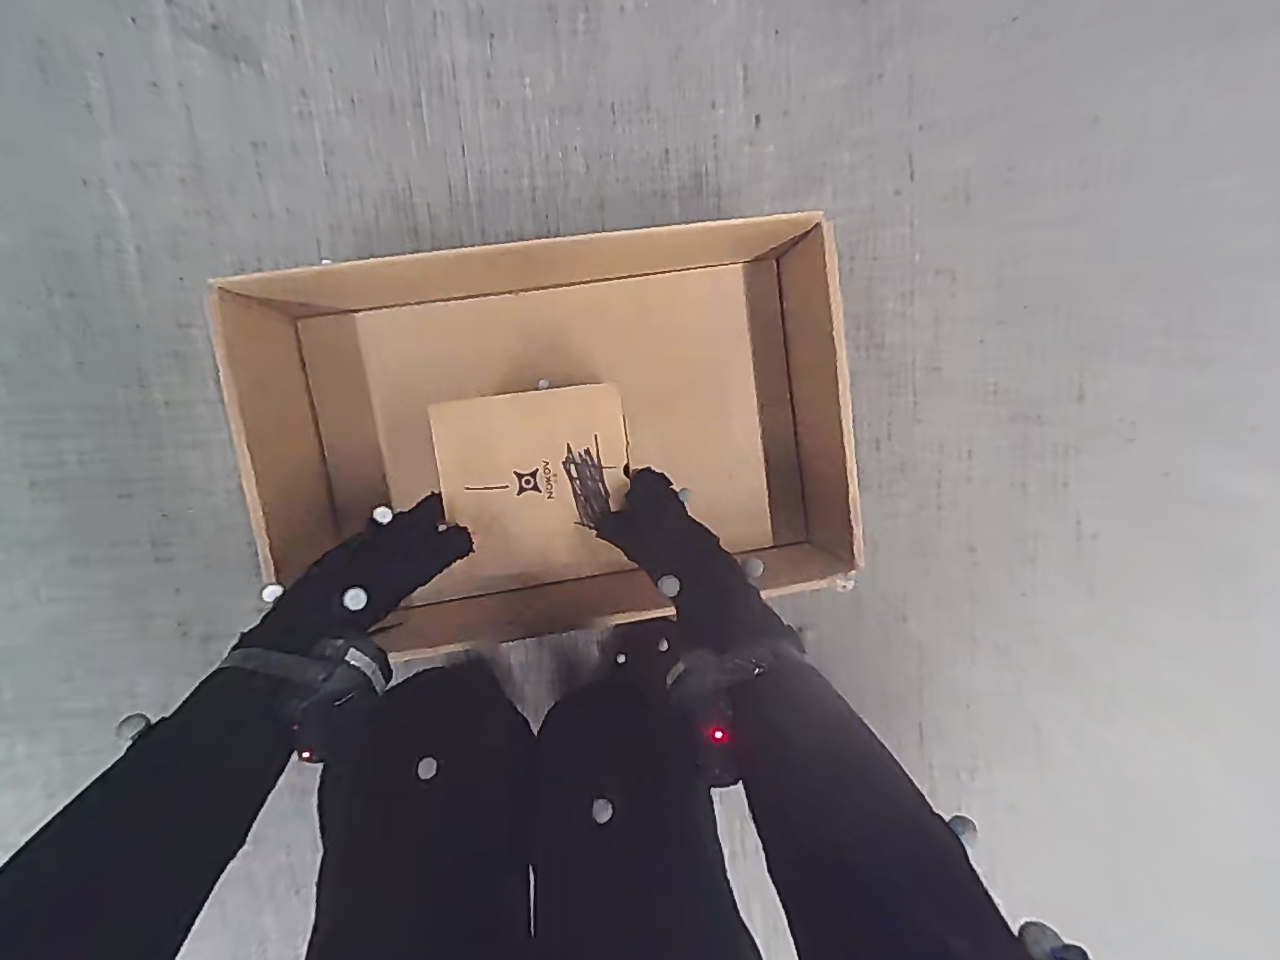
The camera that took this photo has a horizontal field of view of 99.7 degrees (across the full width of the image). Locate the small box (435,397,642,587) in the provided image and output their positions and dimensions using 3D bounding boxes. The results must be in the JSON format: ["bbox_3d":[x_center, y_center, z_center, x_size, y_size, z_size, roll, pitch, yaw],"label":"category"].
[{"bbox_3d":[-0.096,0.004,0.584,0.179,0.176,0.168,-8,95,0],"label":"small box"}]
